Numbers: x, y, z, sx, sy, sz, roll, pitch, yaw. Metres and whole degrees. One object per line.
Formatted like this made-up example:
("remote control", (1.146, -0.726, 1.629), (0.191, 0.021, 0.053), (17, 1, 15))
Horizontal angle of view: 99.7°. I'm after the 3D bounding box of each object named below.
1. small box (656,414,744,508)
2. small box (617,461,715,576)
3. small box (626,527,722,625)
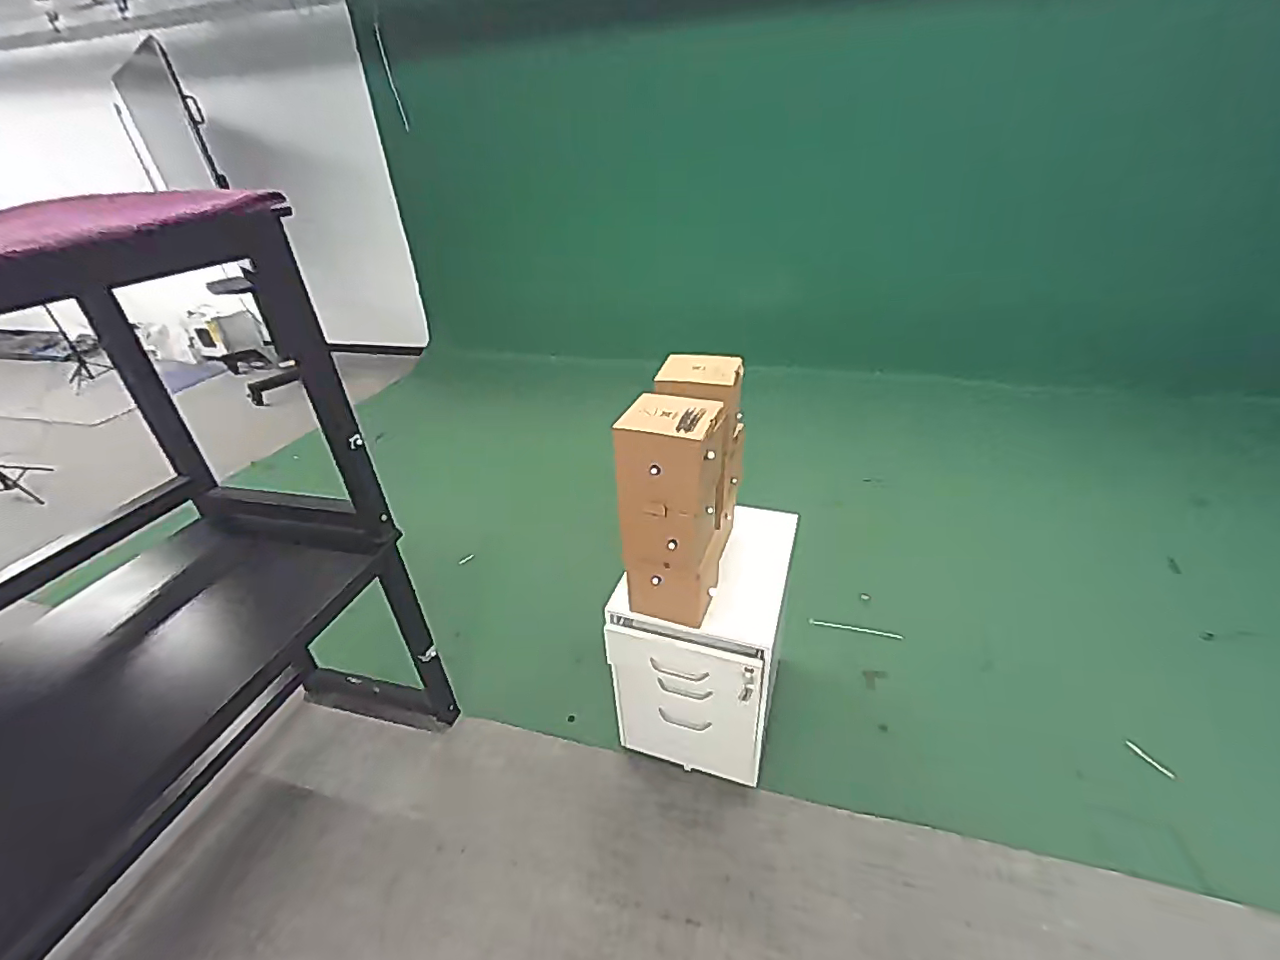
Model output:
("small box", (0.150, -0.047, 1.352), (0.179, 0.176, 0.168), (11, 35, 20))
("small box", (0.062, 0.081, 1.155), (0.168, 0.176, 0.179), (9, 33, 17))
("small box", (0.082, 0.210, 1.253), (0.179, 0.176, 0.168), (10, 34, 20))
